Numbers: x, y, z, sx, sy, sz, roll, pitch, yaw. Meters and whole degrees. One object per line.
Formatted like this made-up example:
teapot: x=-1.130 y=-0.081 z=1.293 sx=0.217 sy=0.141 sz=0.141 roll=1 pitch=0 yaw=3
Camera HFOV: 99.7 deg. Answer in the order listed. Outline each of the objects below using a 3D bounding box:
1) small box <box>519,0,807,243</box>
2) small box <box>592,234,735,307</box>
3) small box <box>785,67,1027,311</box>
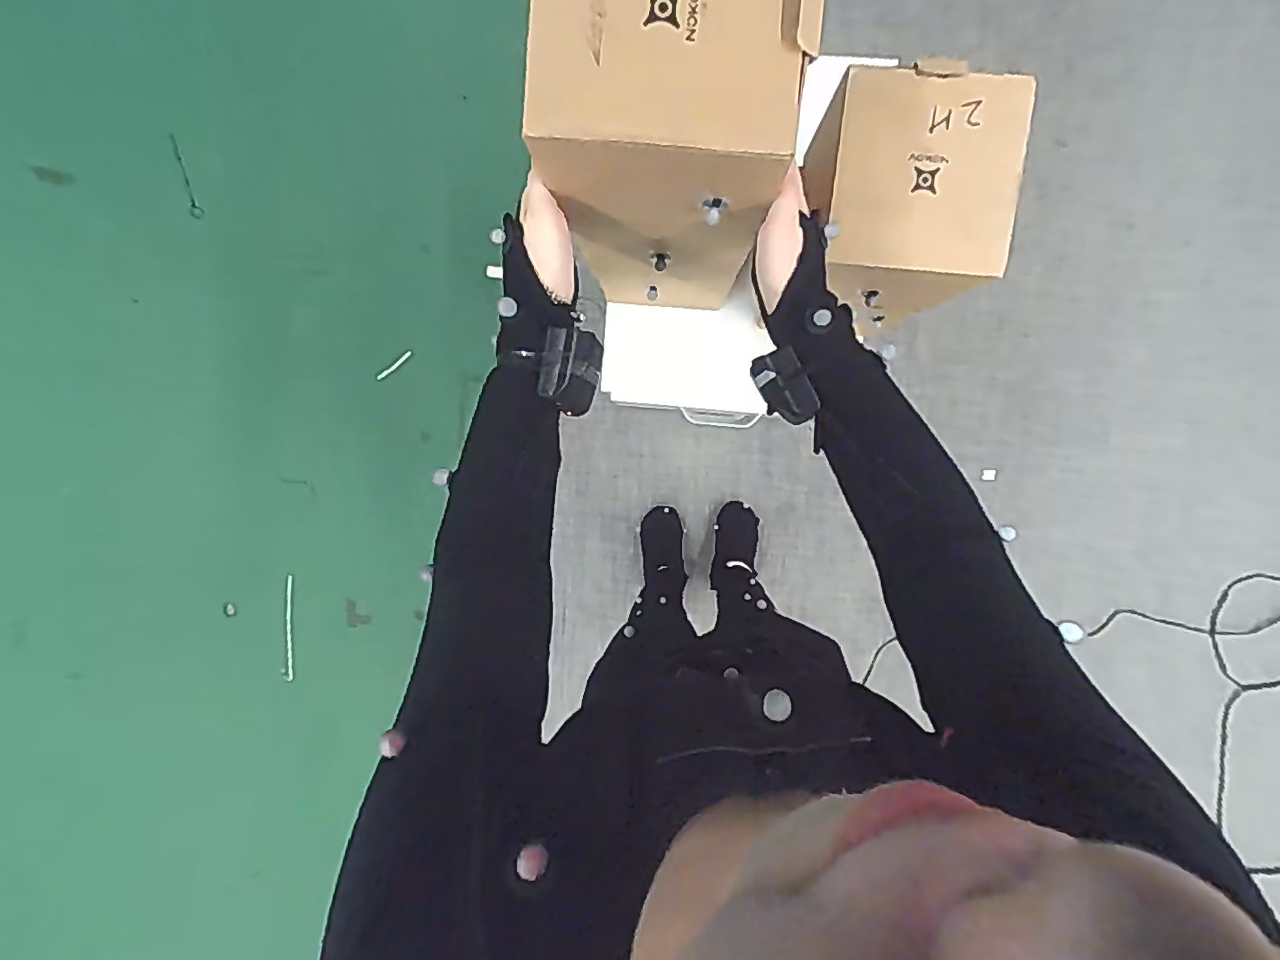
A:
small box: x=0.018 y=-0.296 z=0.416 sx=0.179 sy=0.176 sz=0.168 roll=5 pitch=95 yaw=2
small box: x=0.036 y=-0.341 z=0.741 sx=0.179 sy=0.176 sz=0.168 roll=4 pitch=97 yaw=1
small box: x=0.258 y=-0.286 z=0.571 sx=0.168 sy=0.176 sz=0.179 roll=6 pitch=96 yaw=2
